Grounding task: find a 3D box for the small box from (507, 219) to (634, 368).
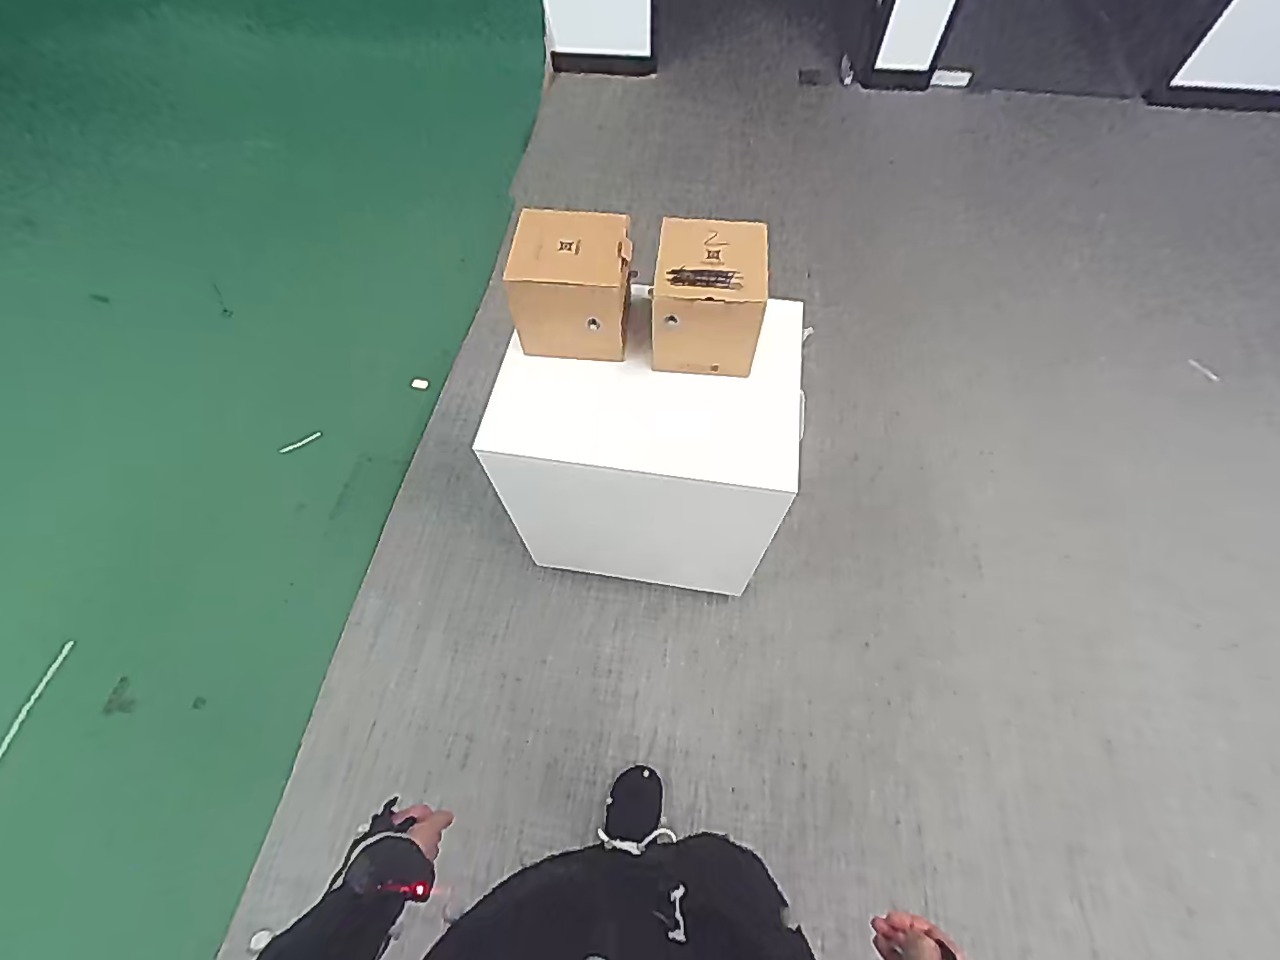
[{"bbox_3d":[-0.103,-0.303,0.897,0.179,0.176,0.168,4,60,3],"label":"small box"}]
